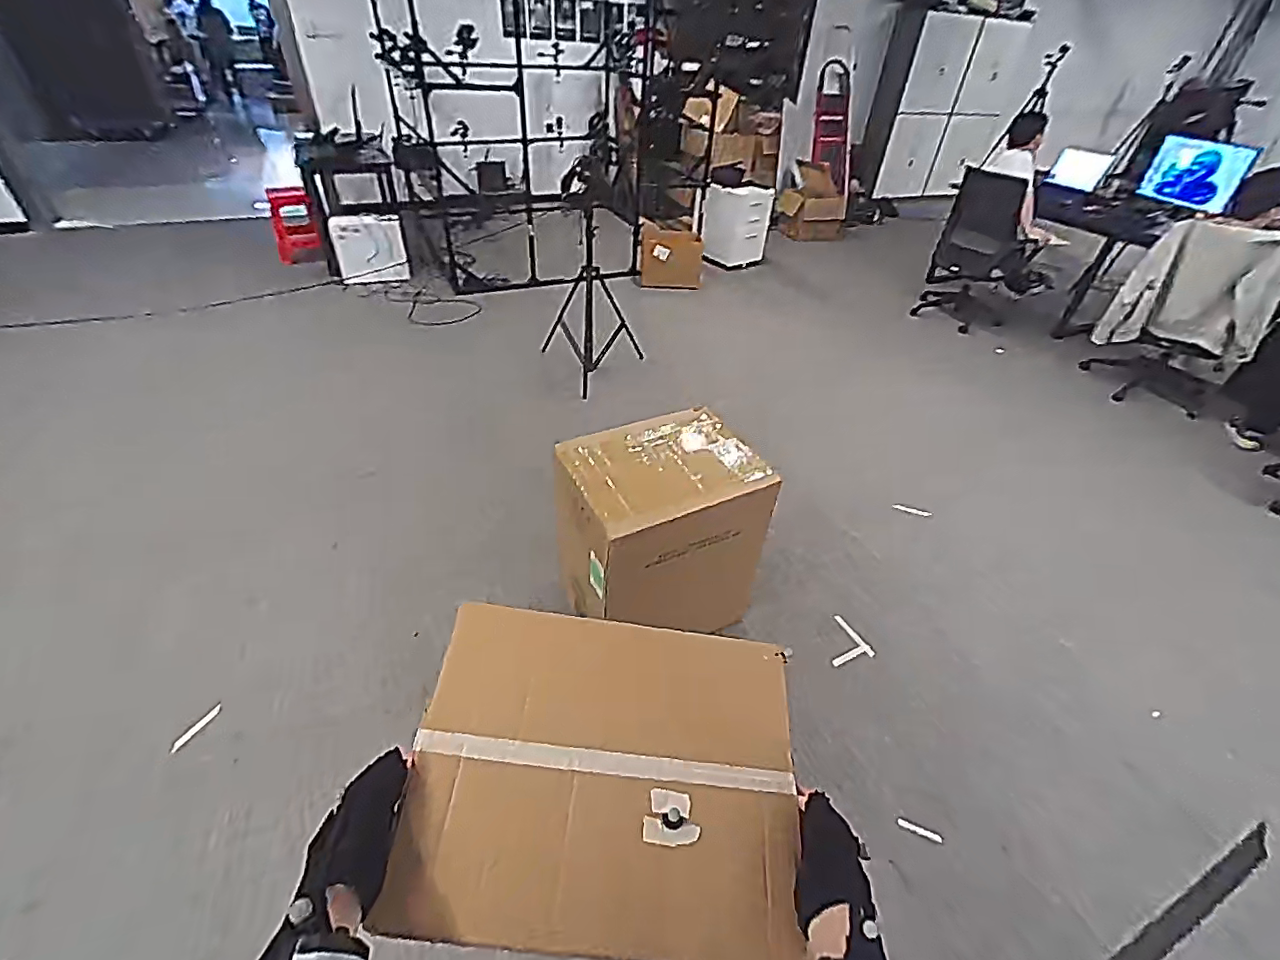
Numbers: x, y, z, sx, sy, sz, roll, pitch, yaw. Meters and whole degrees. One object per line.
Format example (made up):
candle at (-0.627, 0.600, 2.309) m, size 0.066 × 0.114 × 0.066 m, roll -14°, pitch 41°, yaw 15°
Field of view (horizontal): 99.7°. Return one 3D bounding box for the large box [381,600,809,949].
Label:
large box at (-0.051, 0.382, 0.698) m, size 0.408 × 0.320 × 0.320 m, roll 9°, pitch 52°, yaw -4°
